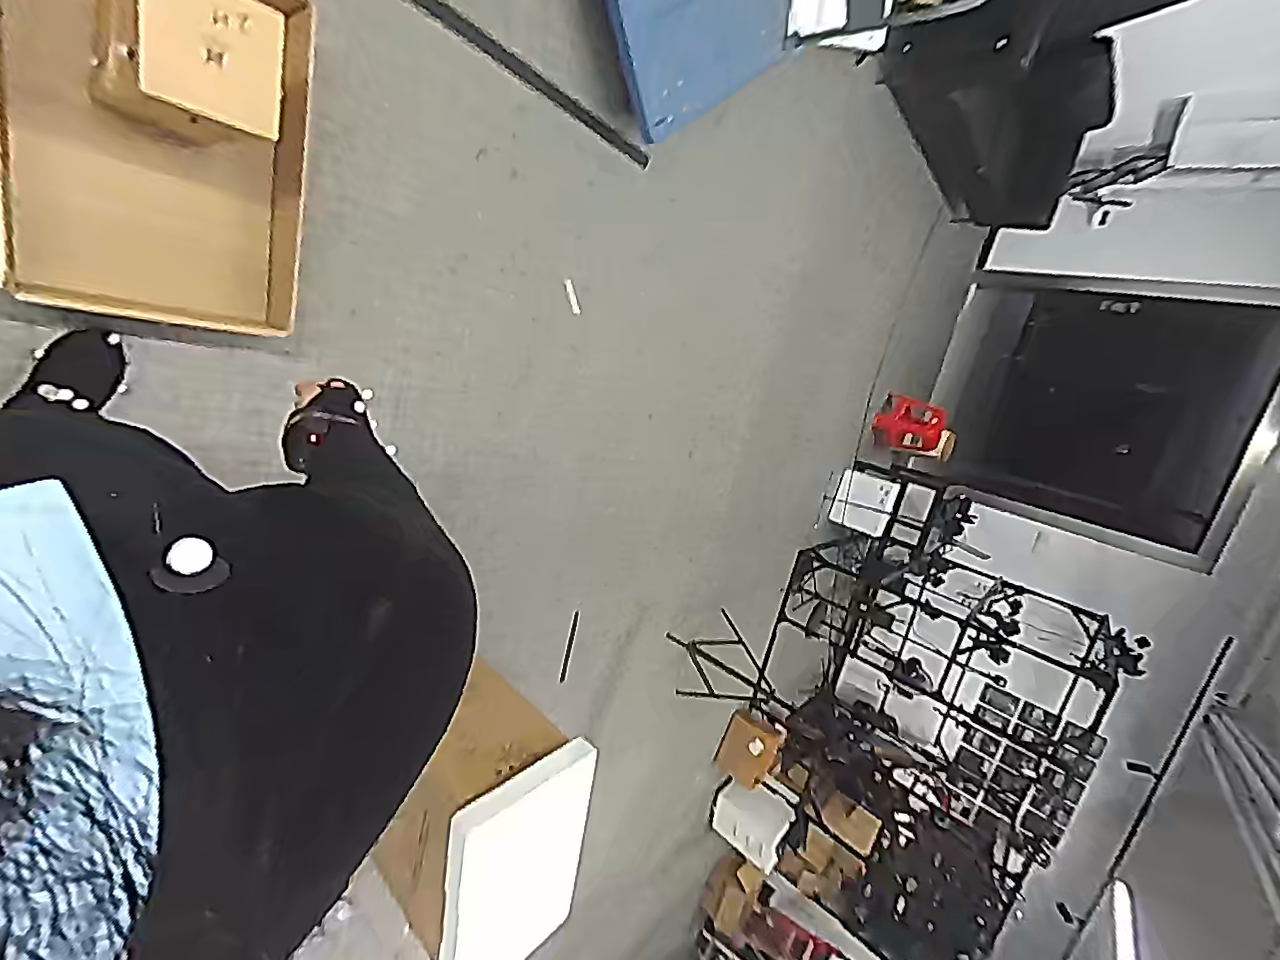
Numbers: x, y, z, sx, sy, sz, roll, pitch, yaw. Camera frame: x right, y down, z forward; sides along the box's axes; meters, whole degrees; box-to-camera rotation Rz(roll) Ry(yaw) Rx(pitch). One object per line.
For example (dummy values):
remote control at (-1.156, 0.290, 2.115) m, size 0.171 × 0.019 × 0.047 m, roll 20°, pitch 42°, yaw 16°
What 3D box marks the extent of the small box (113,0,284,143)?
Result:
small box at (-0.667, -0.636, 0.817) m, size 0.168 × 0.176 × 0.179 m, roll -5°, pitch 113°, yaw -52°
